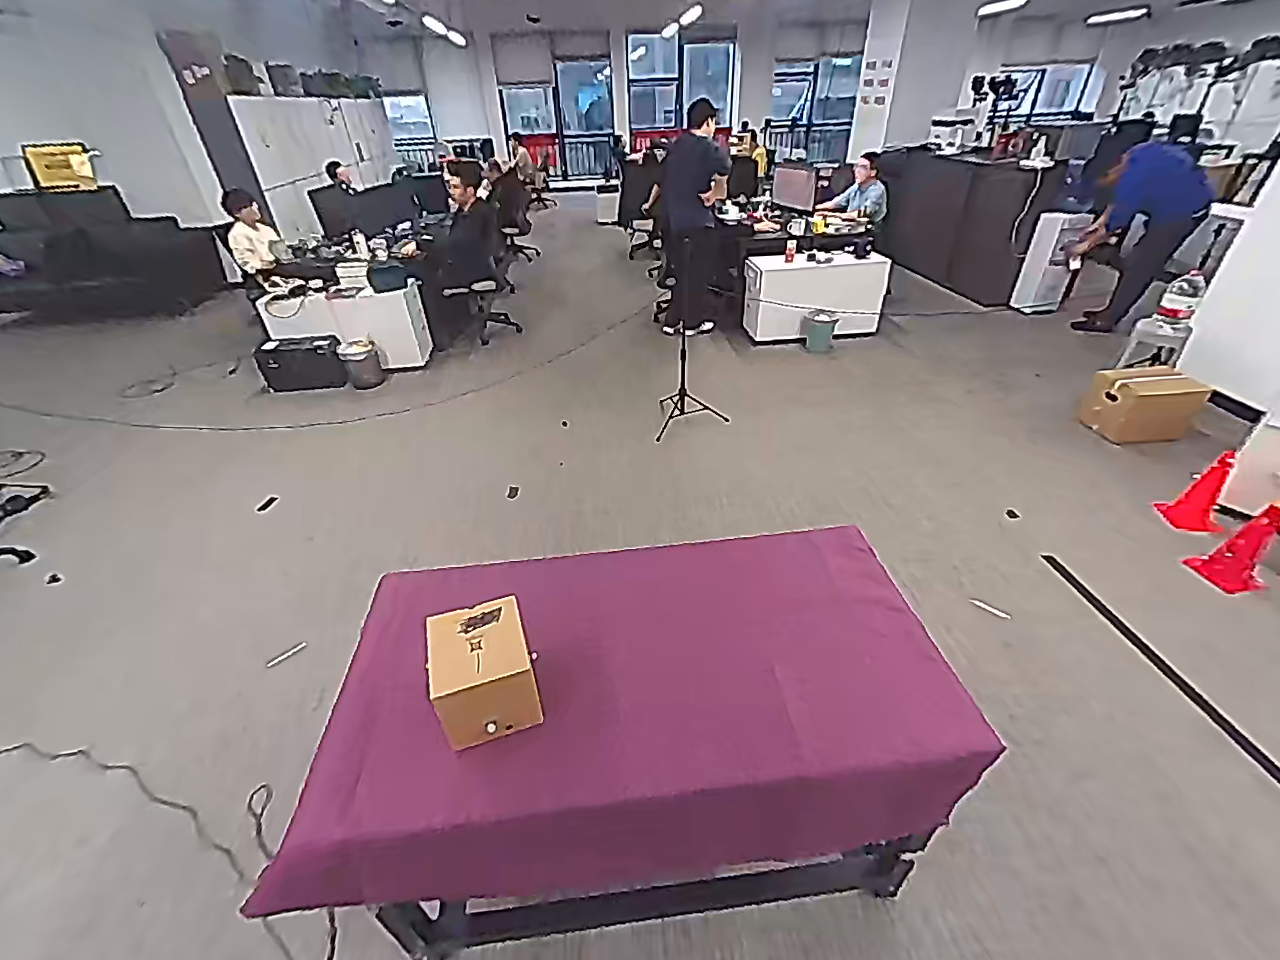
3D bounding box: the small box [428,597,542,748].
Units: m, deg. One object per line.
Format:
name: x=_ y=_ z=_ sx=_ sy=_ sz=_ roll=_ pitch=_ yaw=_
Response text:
small box: x=-0.285 y=0.351 z=0.995 sx=0.168 sy=0.176 sz=0.179 roll=-13 pitch=37 yaw=-14
